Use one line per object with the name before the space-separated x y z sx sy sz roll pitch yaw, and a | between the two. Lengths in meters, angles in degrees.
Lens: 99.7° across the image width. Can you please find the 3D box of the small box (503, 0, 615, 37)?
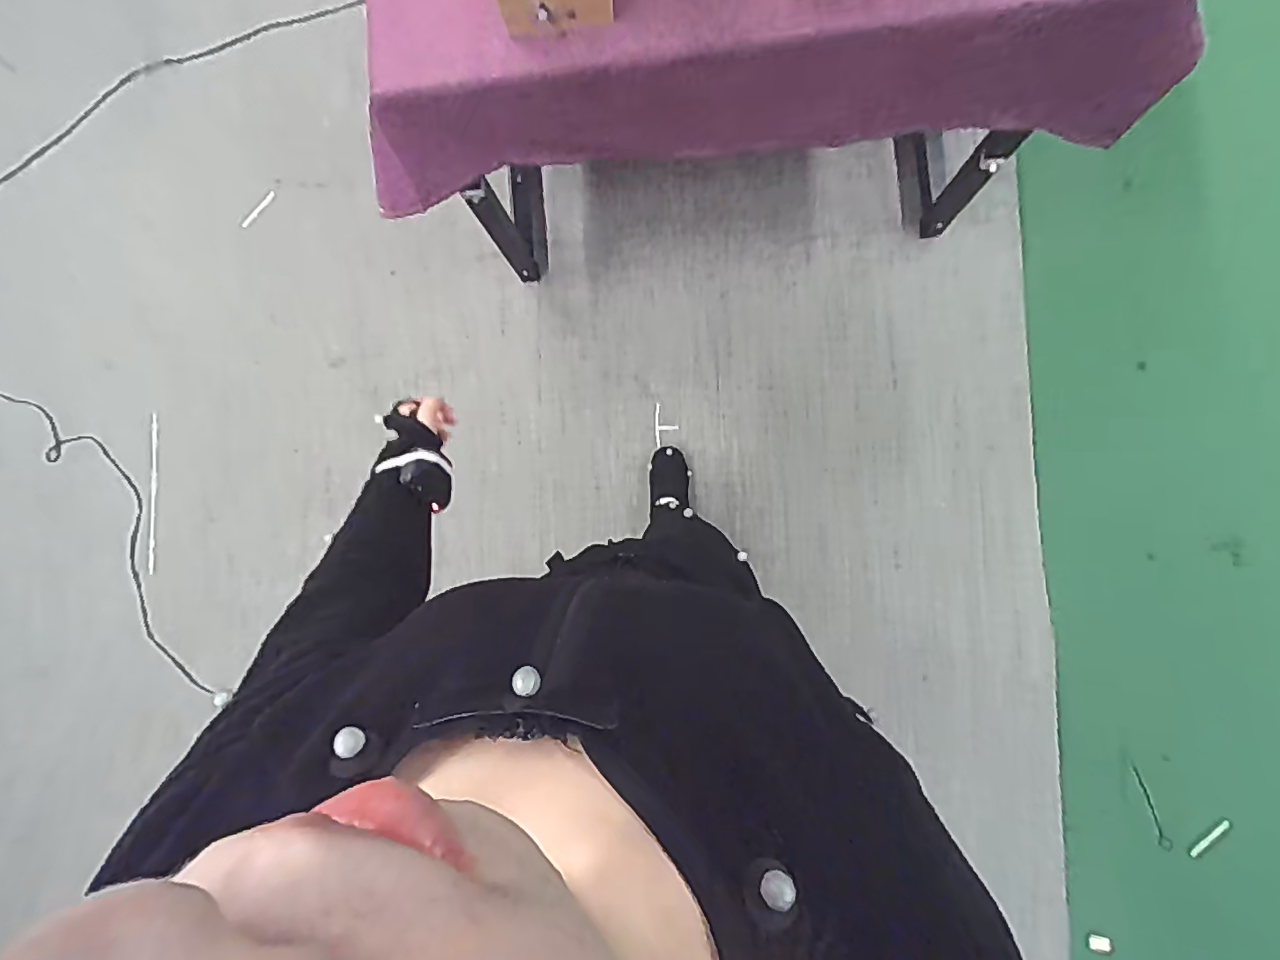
small box | -0.128 -0.779 0.758 0.168 0.176 0.179 -3 87 5
